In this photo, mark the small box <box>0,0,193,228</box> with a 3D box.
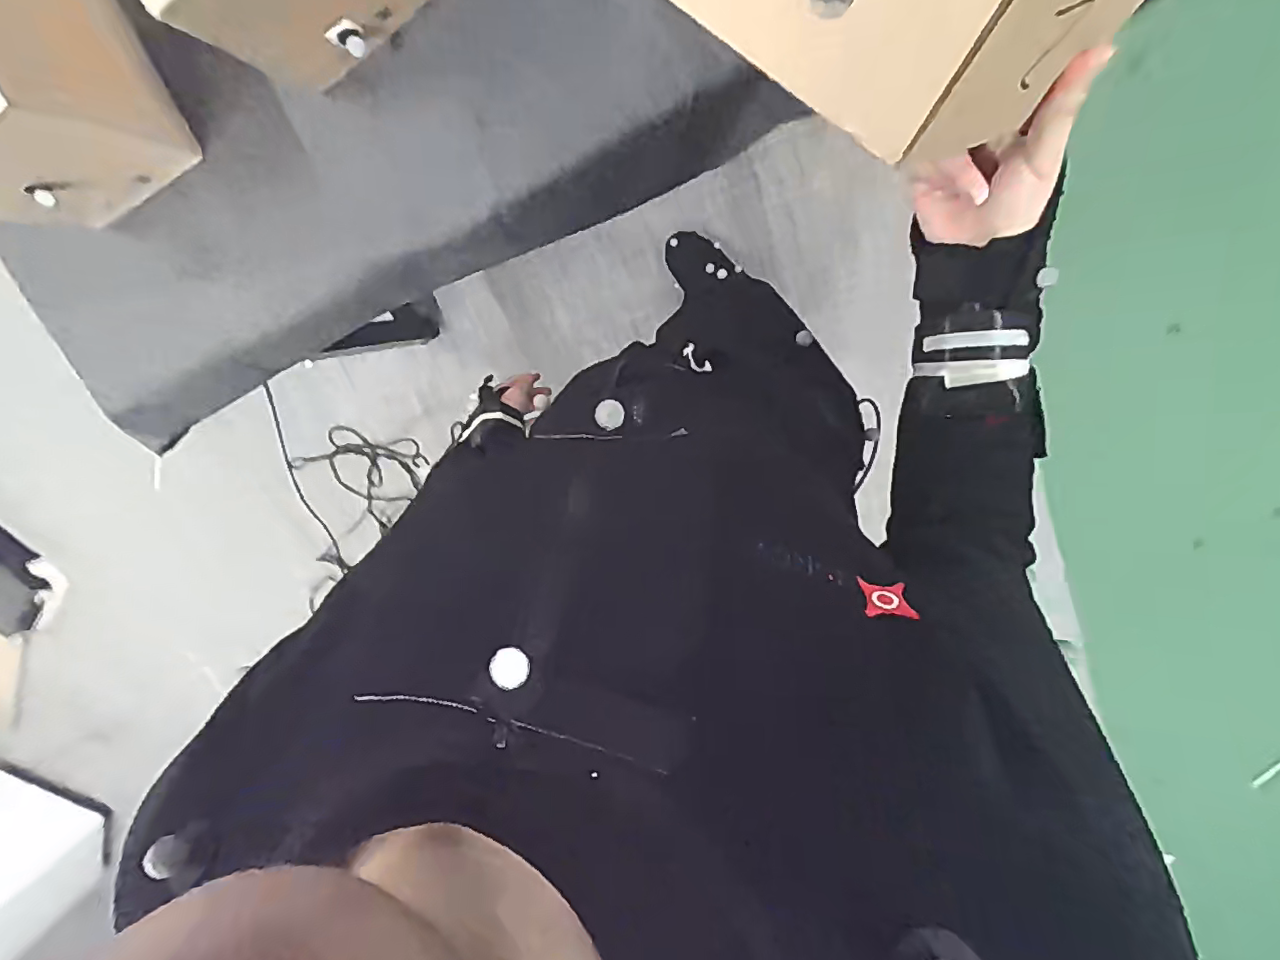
[{"bbox_3d":[-0.561,-0.342,0.475,0.168,0.176,0.179,-22,102,15],"label":"small box"}]

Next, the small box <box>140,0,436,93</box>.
[{"bbox_3d":[-0.289,-0.443,0.400,0.168,0.176,0.179,-28,102,17],"label":"small box"}]
